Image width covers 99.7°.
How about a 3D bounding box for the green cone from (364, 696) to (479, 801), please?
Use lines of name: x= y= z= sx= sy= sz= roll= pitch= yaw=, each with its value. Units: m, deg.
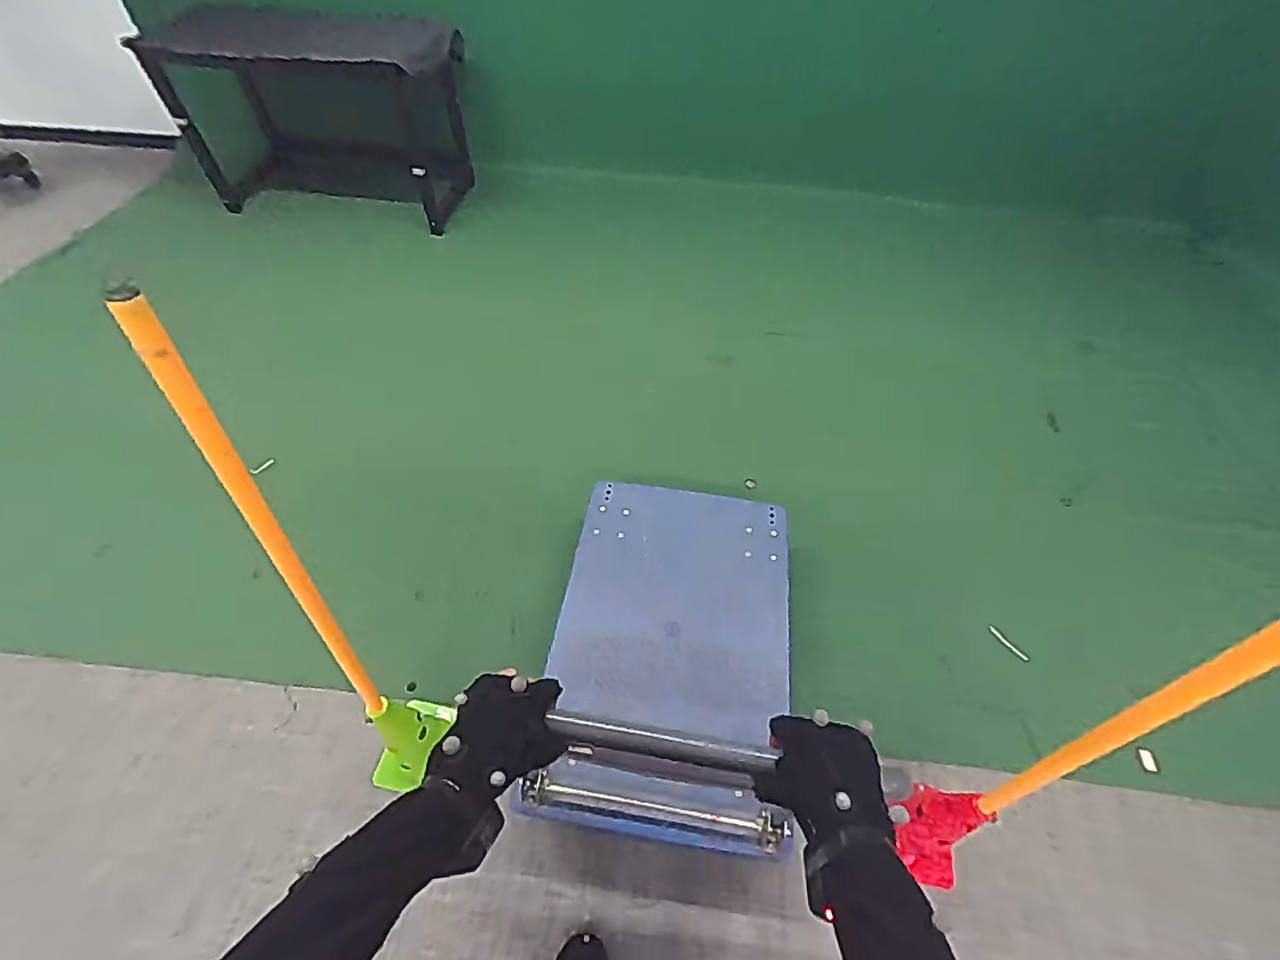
green cone: x=-0.514 y=0.550 z=1.191 sx=0.202 sy=0.368 sz=0.200 roll=9 pitch=51 yaw=6
